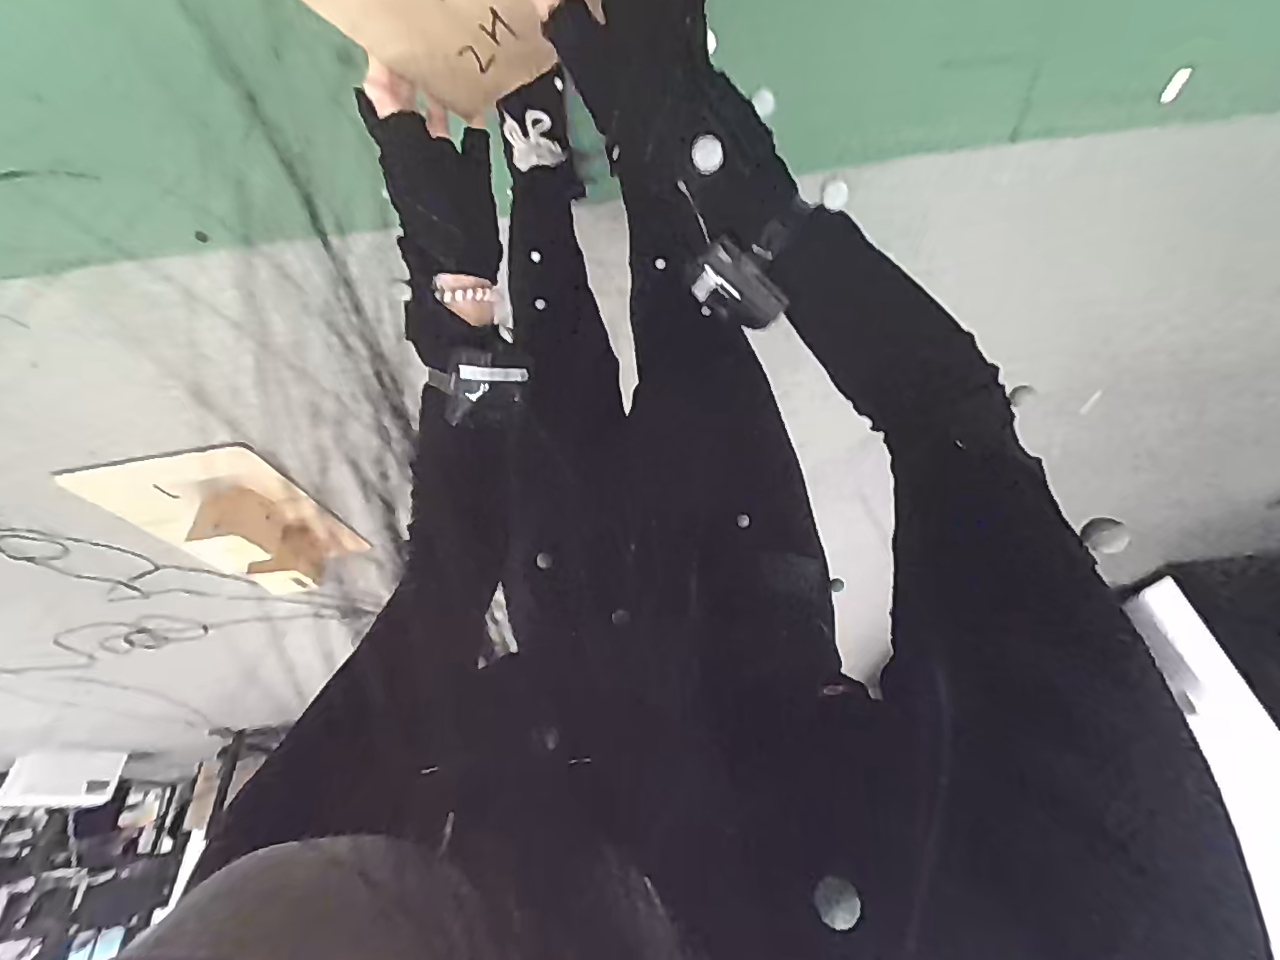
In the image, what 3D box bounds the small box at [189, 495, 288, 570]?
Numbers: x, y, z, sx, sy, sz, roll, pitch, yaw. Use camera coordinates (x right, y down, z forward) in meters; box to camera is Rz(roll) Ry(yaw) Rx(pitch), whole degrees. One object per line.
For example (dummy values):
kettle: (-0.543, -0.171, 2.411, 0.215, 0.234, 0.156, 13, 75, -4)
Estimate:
small box: (-1.284, 0.168, 1.746, 0.179, 0.176, 0.168, -11, 145, 4)
